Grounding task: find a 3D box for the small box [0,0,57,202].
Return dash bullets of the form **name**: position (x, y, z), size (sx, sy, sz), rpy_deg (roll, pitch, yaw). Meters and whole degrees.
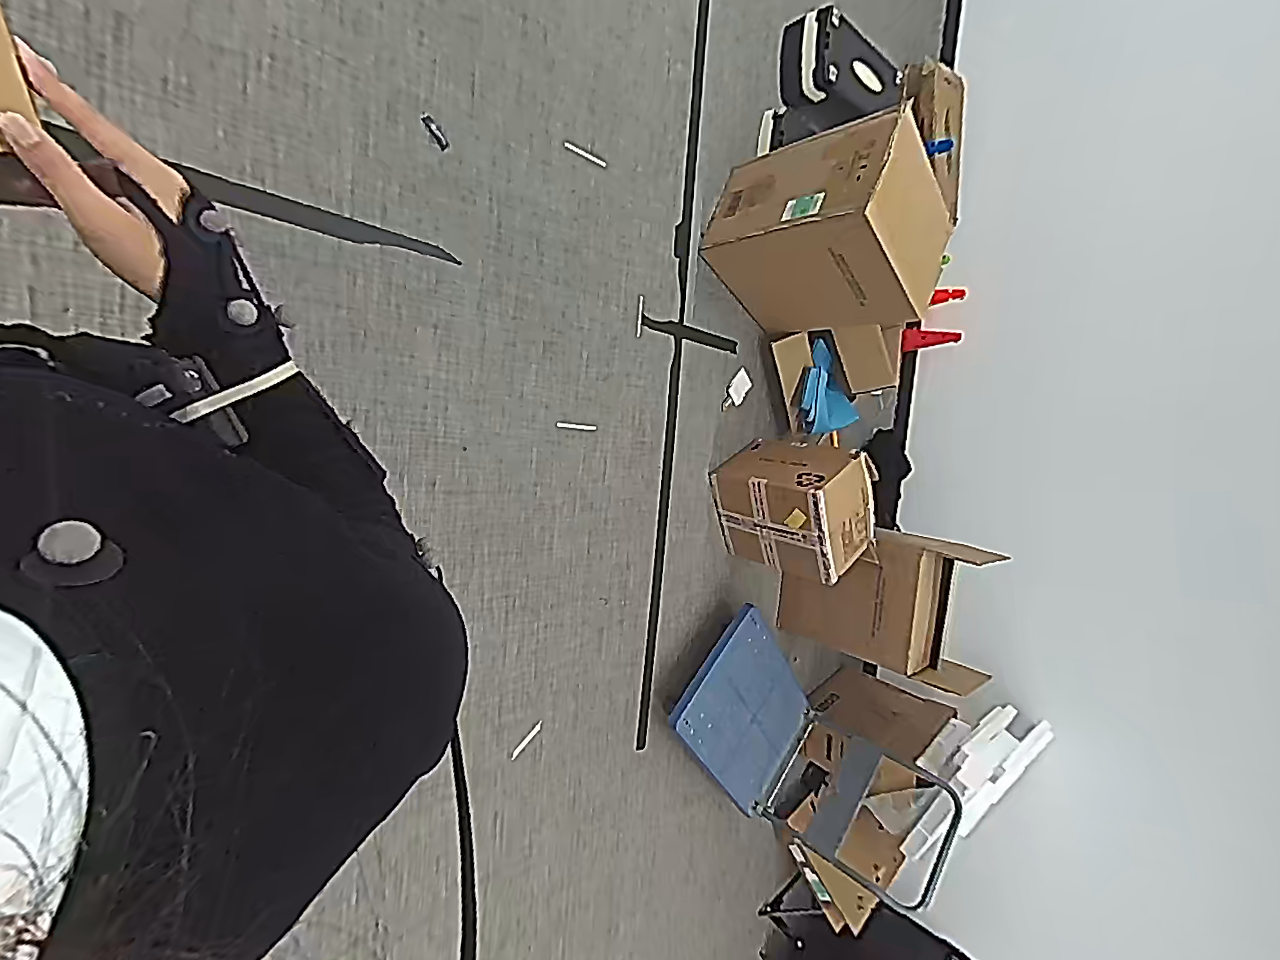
- **small box**: position (-0.443, -0.247, 0.270), size (0.179, 0.176, 0.168), rpy_deg (-20, 115, -42)
